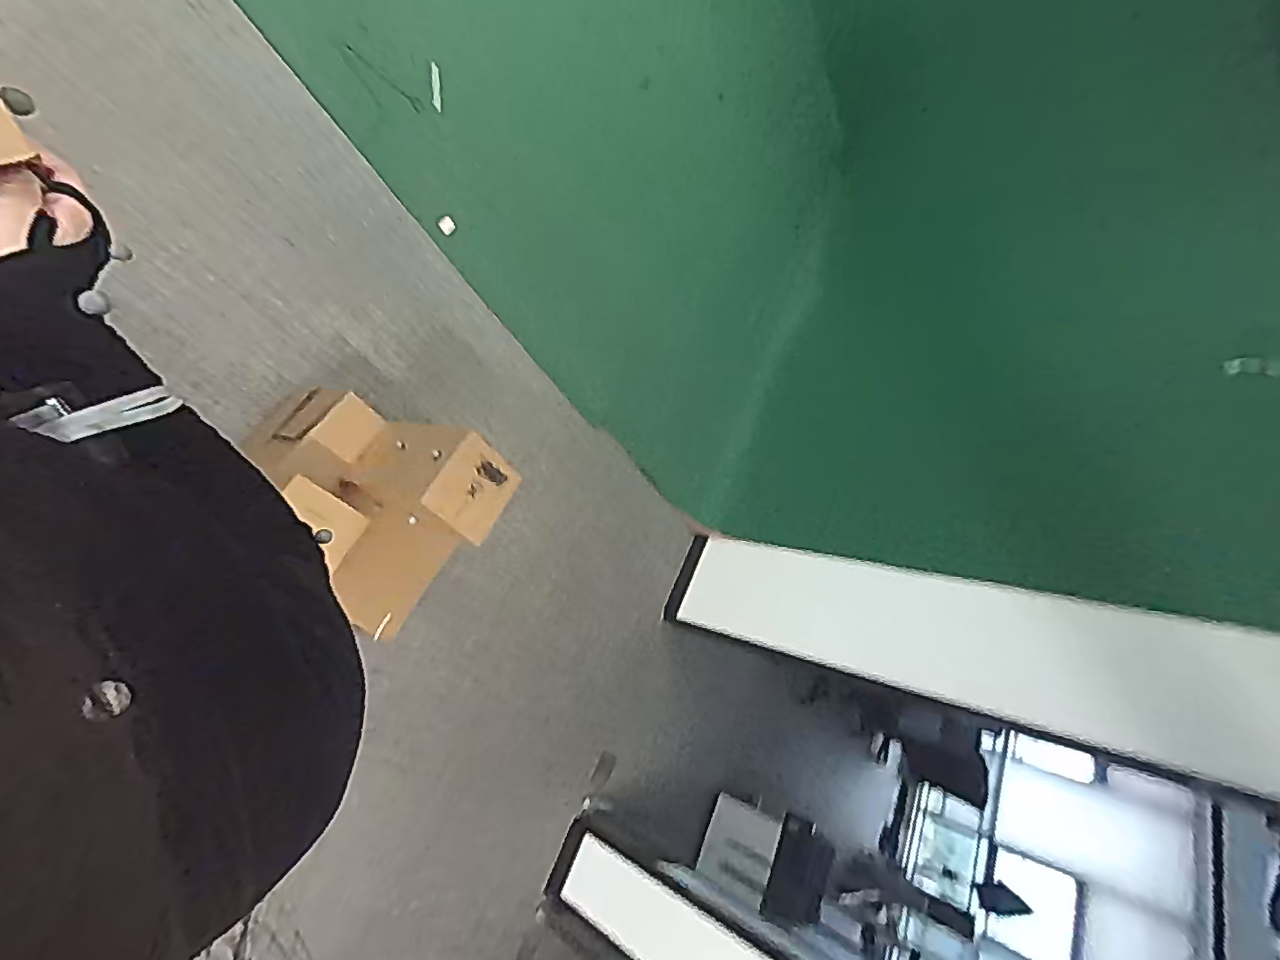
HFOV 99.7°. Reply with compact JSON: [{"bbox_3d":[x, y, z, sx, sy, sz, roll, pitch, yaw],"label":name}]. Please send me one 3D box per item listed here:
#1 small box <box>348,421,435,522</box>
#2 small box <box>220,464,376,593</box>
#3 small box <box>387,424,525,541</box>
[{"bbox_3d":[-0.504,-0.020,1.215,0.179,0.176,0.168,54,55,-43],"label":"small box"},{"bbox_3d":[-0.659,0.087,1.036,0.168,0.176,0.179,51,57,-43],"label":"small box"},{"bbox_3d":[-0.378,-0.002,1.110,0.168,0.176,0.179,52,56,-42],"label":"small box"}]
